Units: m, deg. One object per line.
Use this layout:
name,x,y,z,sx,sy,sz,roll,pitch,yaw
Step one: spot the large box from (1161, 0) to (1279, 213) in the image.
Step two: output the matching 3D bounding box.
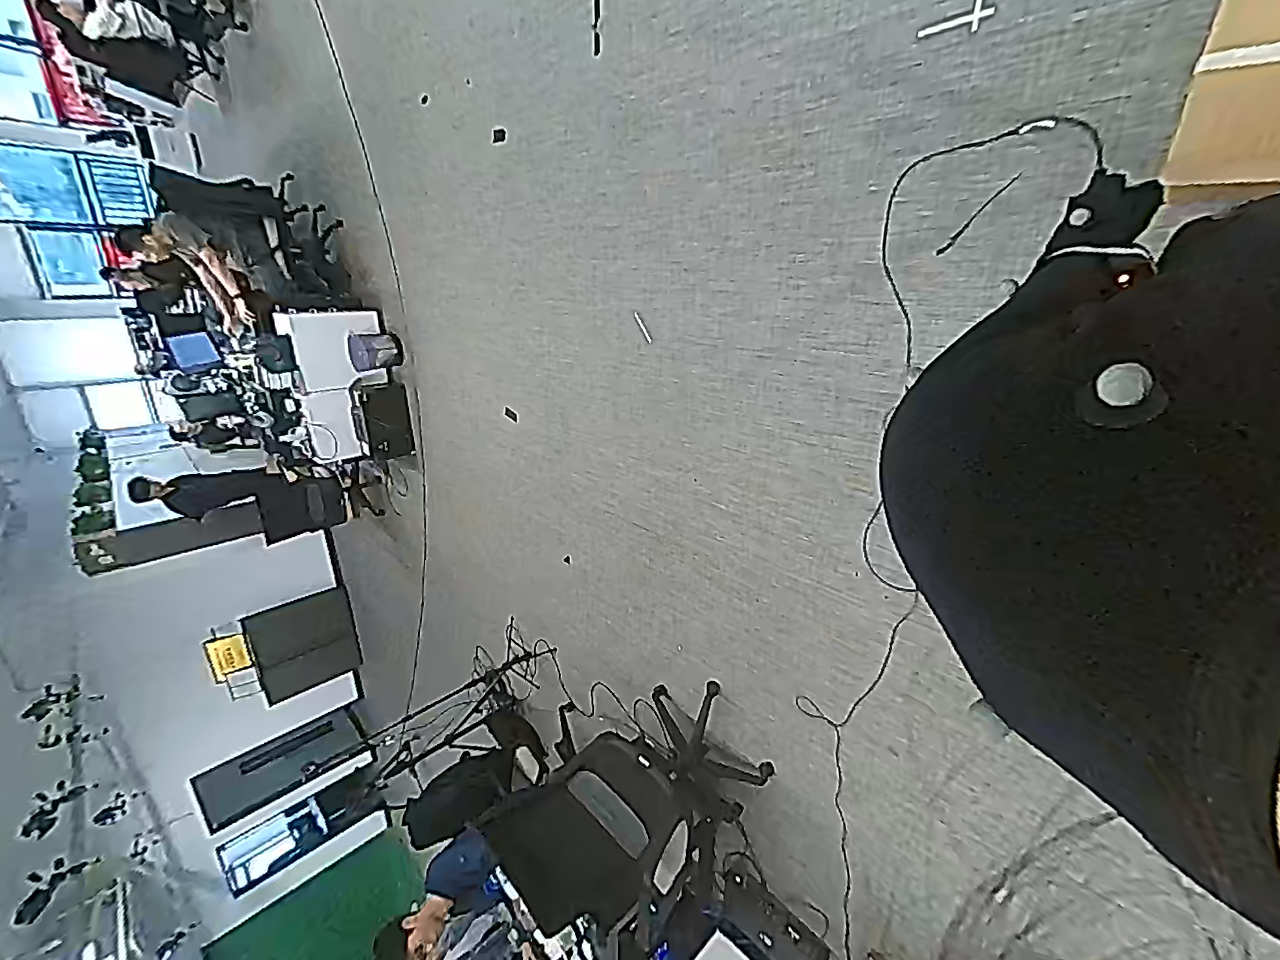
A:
large box,1.047,-0.563,0.749,0.408,0.320,0.320,22,120,40
